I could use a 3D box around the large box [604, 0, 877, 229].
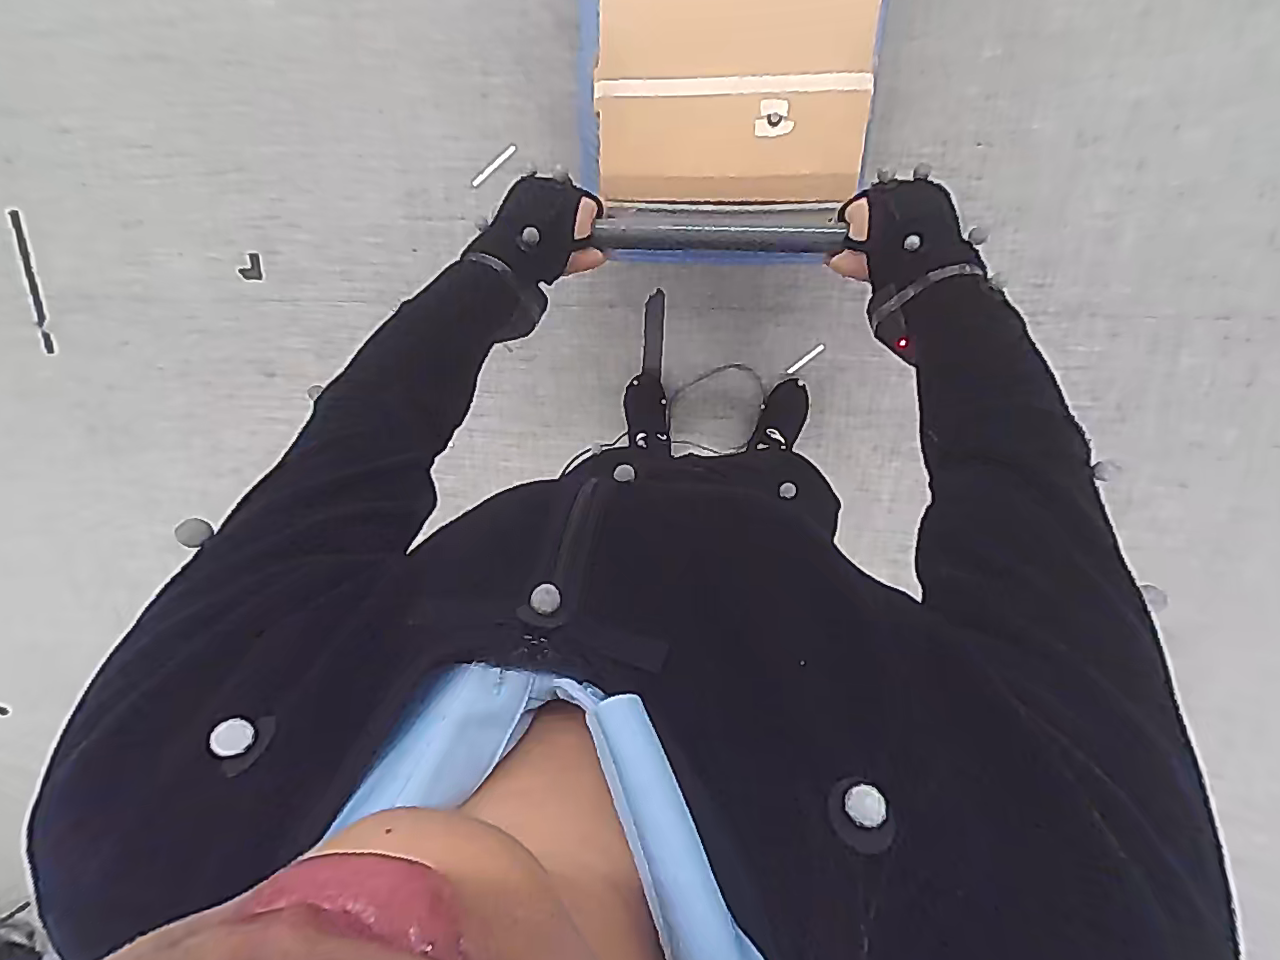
[{"bbox_3d":[0.157,-0.641,0.966,0.408,0.320,0.320,3,109,6],"label":"large box"}]
